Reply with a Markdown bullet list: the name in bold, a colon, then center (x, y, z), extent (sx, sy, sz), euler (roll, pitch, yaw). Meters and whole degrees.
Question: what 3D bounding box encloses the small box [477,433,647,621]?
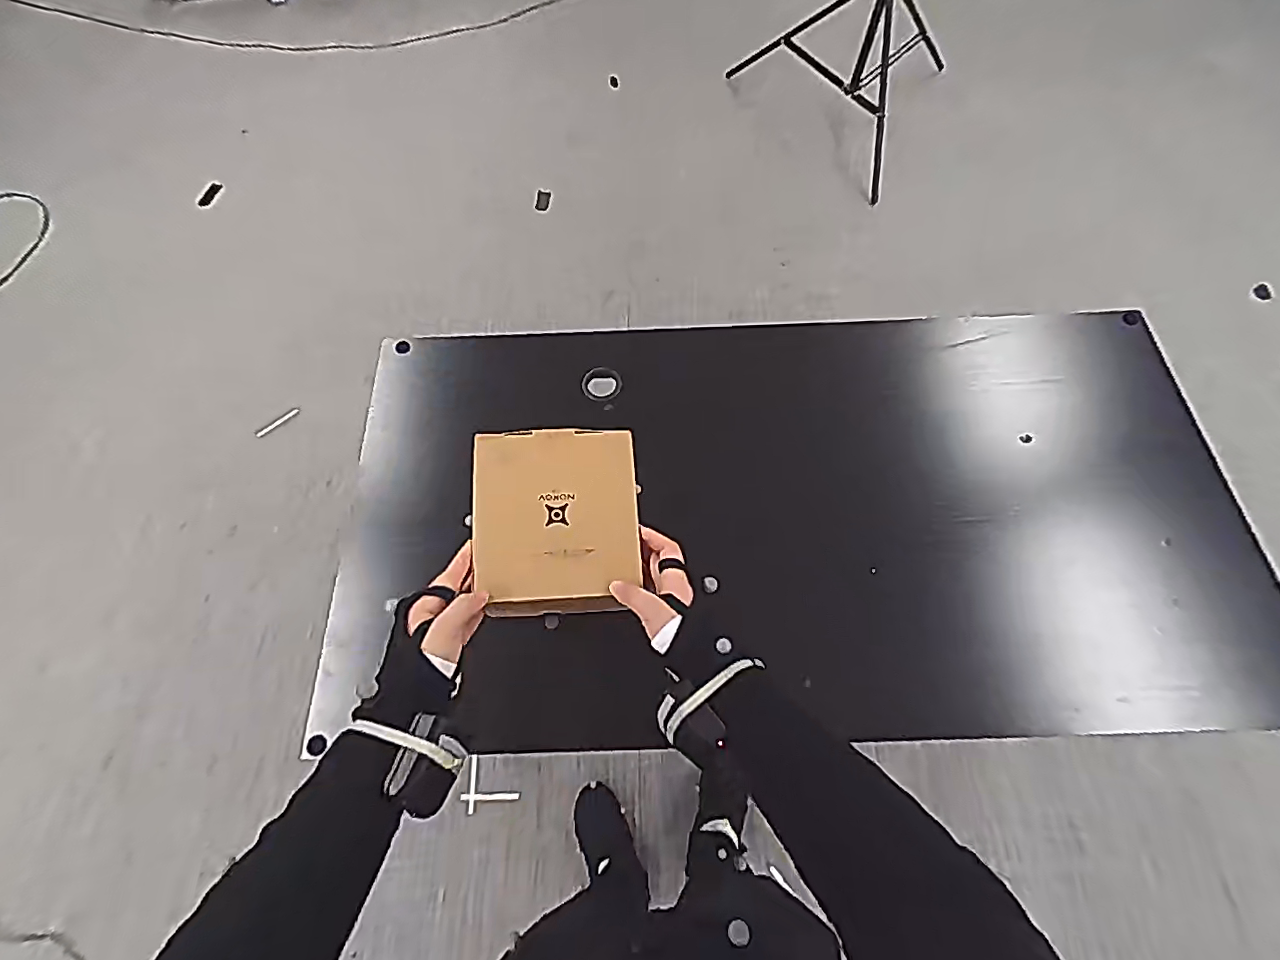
- **small box**: center (-0.088, 0.060, 0.620), extent (0.168, 0.176, 0.179), euler (-3, 72, -7)
